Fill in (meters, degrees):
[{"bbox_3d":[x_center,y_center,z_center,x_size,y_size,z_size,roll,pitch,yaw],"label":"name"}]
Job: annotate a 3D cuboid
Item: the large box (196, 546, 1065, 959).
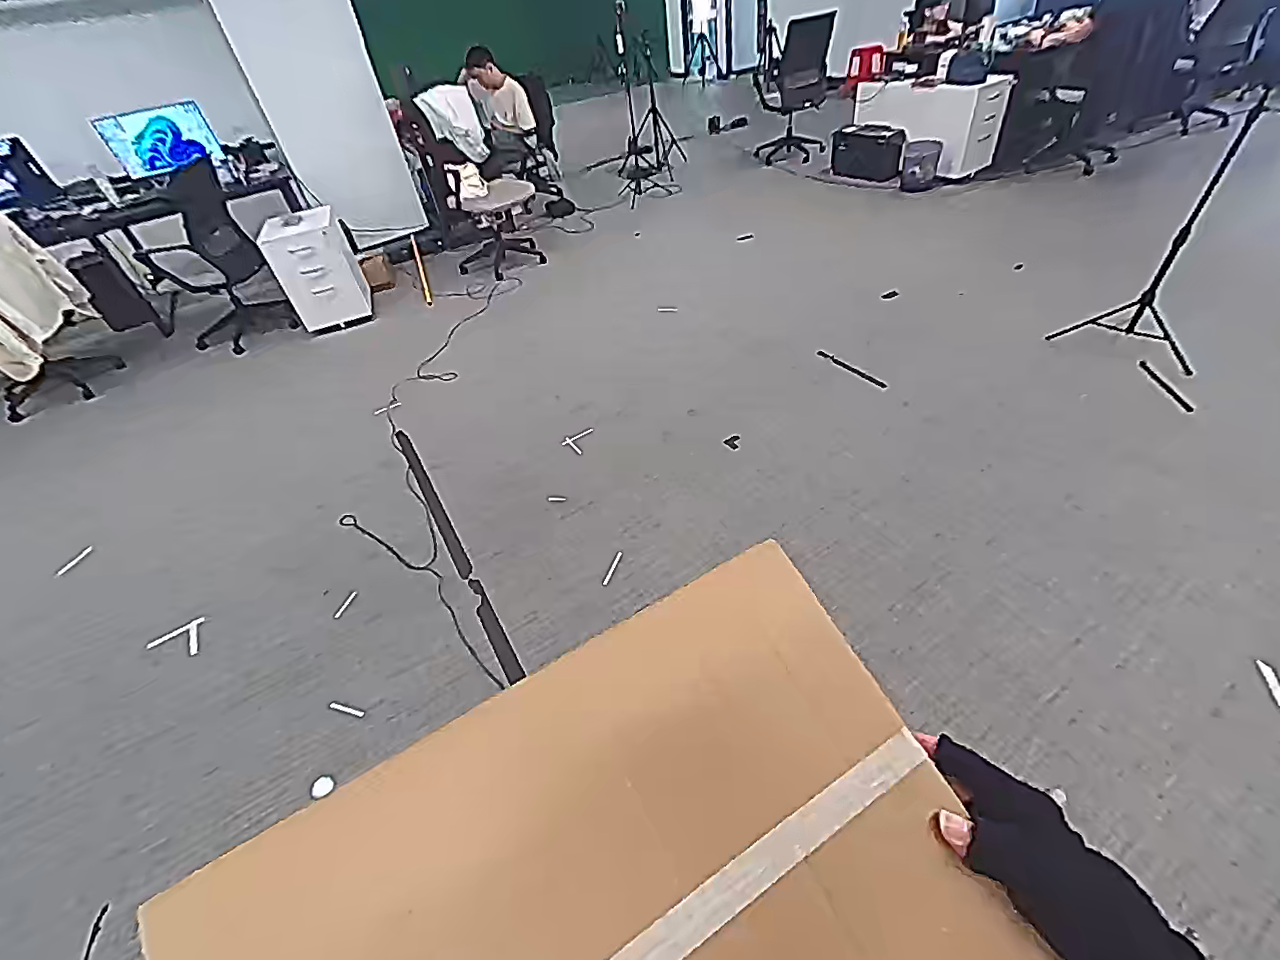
[{"bbox_3d":[-0.008,0.317,0.431,0.408,0.320,0.320,-27,72,-17],"label":"large box"}]
